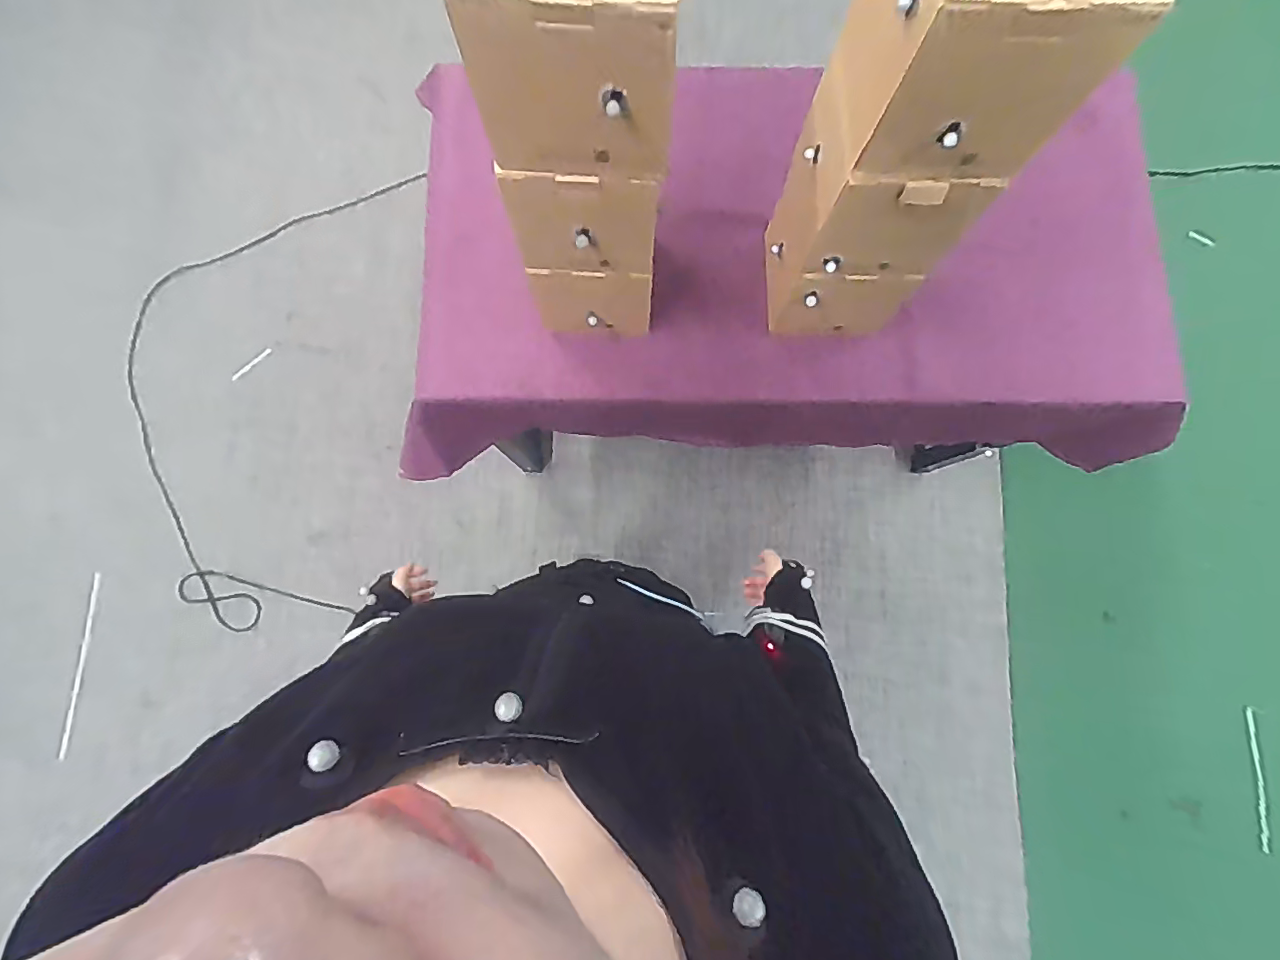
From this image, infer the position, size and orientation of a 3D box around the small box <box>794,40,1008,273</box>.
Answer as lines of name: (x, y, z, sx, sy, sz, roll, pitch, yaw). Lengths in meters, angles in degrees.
small box: (0.287, -0.363, 0.633, 0.168, 0.176, 0.179, 1, 79, -1)

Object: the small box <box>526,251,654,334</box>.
small box: (-0.064, -0.333, 0.788, 0.168, 0.176, 0.179, 2, 80, 0)

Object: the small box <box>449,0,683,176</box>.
small box: (-0.048, -0.397, 0.466, 0.168, 0.176, 0.179, 4, 79, -1)

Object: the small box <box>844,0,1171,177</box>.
small box: (0.292, -0.401, 0.474, 0.168, 0.176, 0.179, 0, 80, -1)

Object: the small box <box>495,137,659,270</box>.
small box: (-0.061, -0.365, 0.626, 0.168, 0.176, 0.179, 2, 80, -1)
